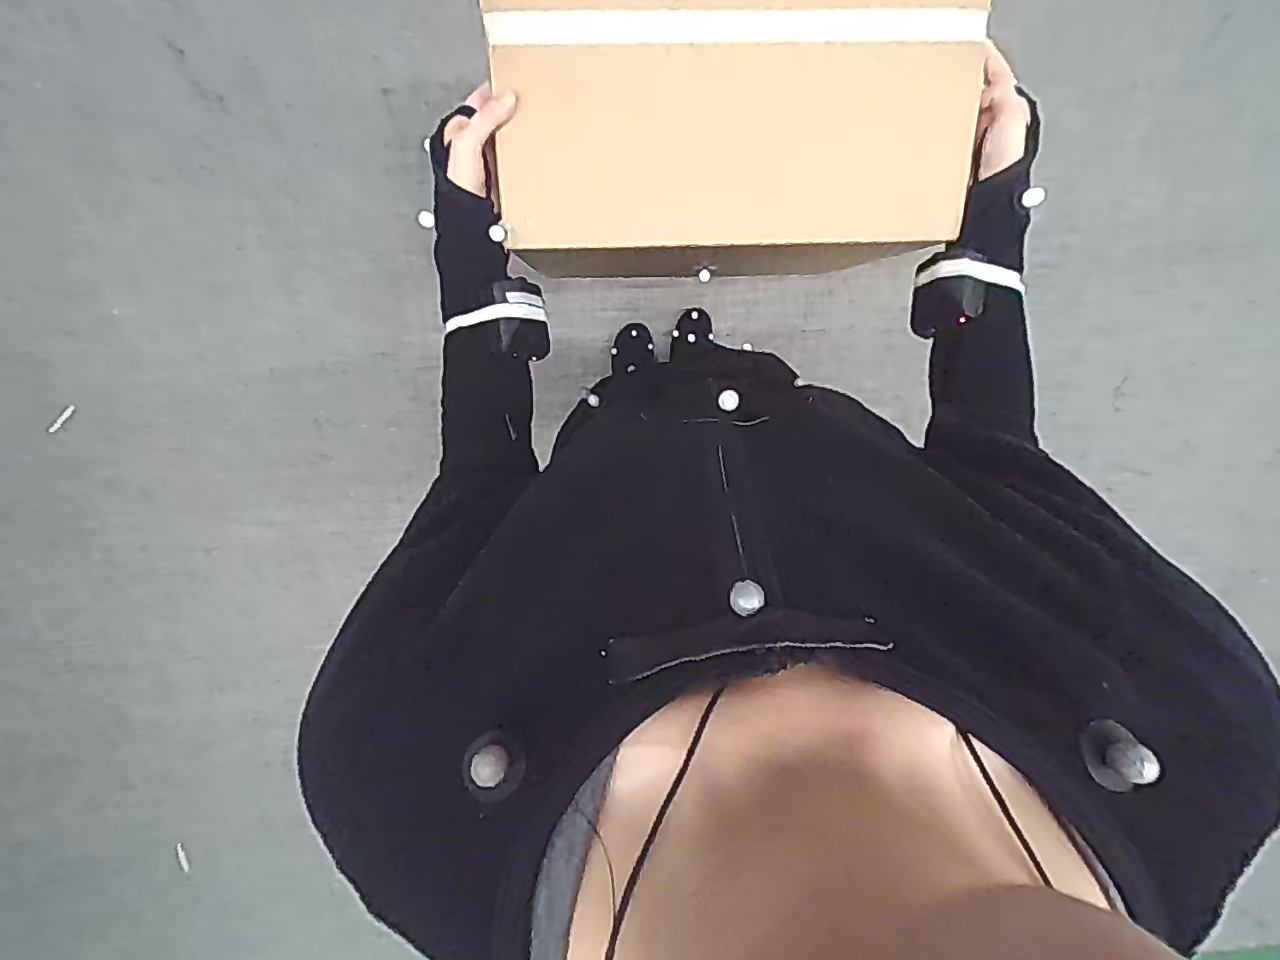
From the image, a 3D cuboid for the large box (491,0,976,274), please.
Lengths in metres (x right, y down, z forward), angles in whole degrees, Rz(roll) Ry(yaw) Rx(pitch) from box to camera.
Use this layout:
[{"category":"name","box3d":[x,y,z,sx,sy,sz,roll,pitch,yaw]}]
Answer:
[{"category":"large box","box3d":[0.075,-0.406,0.590,0.408,0.320,0.320,-2,105,-2]}]
